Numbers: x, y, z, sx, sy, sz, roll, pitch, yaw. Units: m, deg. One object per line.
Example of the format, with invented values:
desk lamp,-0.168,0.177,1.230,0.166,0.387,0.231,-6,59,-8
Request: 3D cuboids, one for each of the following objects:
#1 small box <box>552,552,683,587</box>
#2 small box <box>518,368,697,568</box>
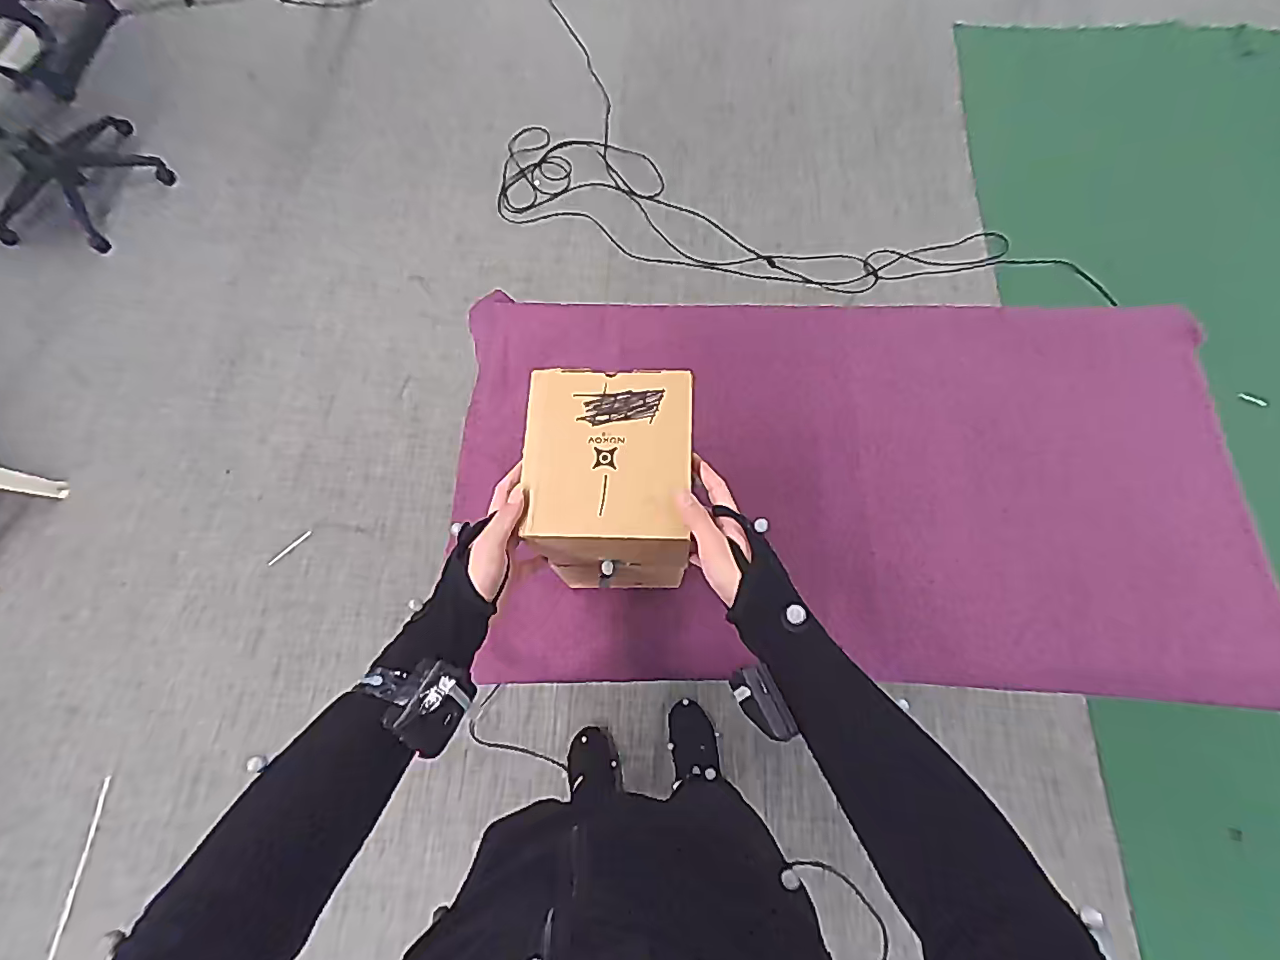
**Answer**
small box,-0.021,0.053,0.762,0.168,0.176,0.179,0,69,2
small box,-0.024,-0.005,0.598,0.168,0.176,0.179,1,73,5
